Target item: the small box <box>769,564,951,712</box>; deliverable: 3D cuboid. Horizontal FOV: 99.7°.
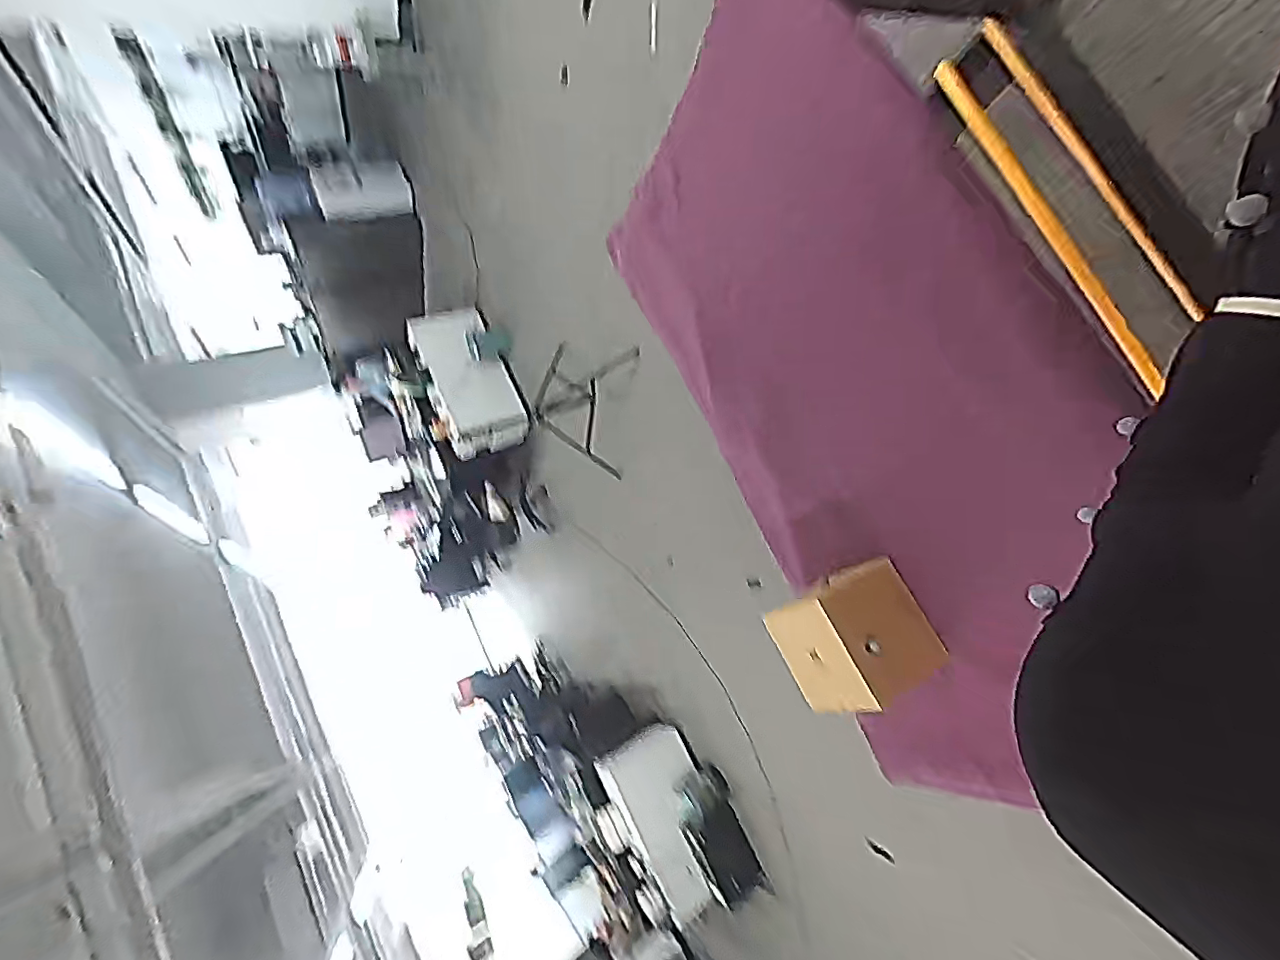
[{"bbox_3d":[0.353,0.252,0.880,0.179,0.176,0.168,61,153,12],"label":"small box"}]
